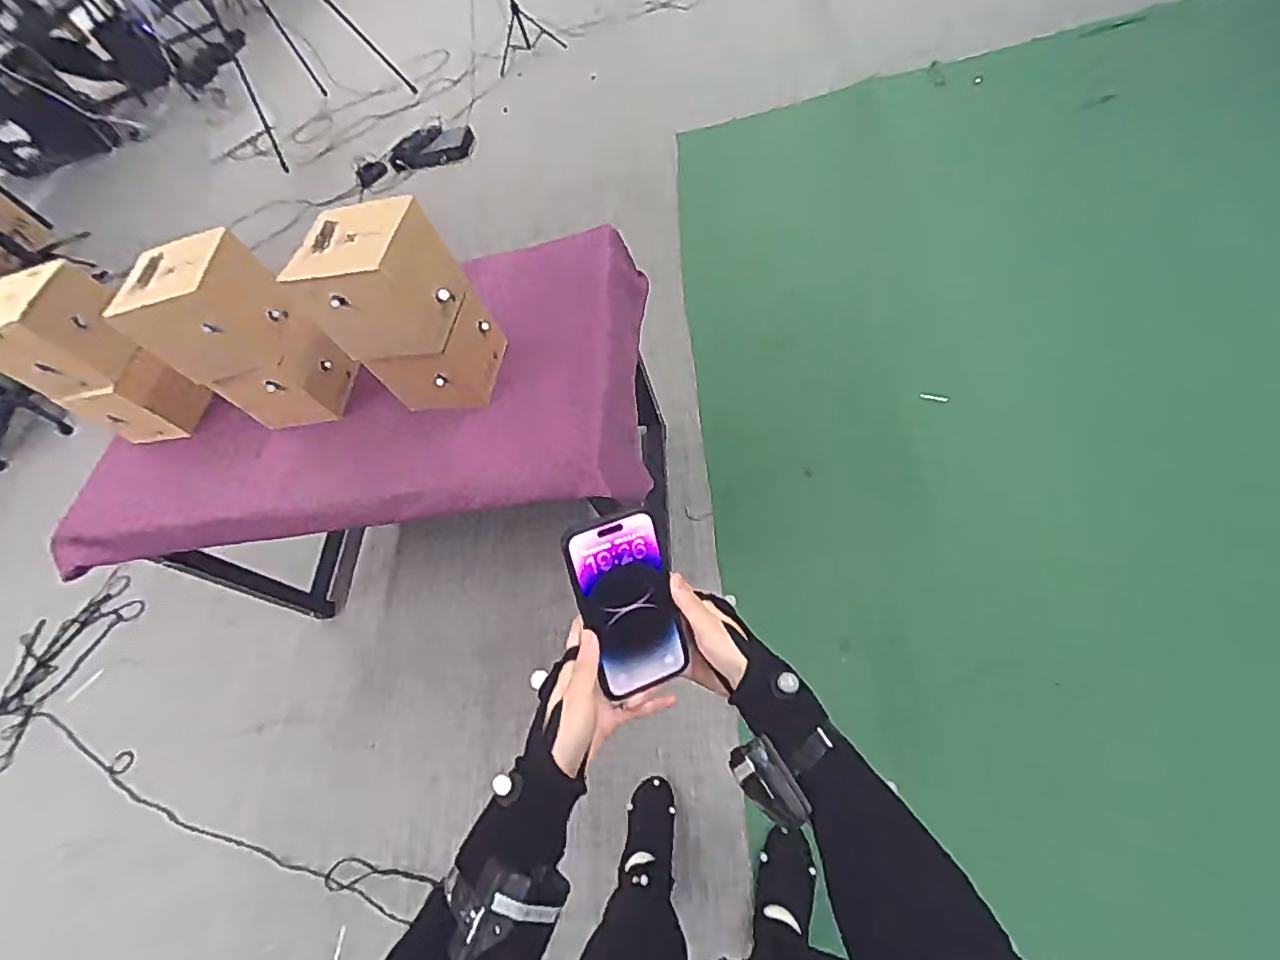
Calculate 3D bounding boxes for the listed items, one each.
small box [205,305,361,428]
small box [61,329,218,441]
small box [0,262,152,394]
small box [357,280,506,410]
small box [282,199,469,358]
[{"bbox_3d":[-0.707,-0.223,1.094,0.179,0.176,0.168,-6,59,13],"label":"small box"},{"bbox_3d":[-1.084,-0.199,1.193,0.168,0.176,0.179,-6,59,13],"label":"small box"},{"bbox_3d":[-1.125,-0.286,1.059,0.168,0.176,0.179,-10,59,10],"label":"small box"},{"bbox_3d":[-0.377,-0.245,1.012,0.179,0.176,0.168,-1,60,16],"label":"small box"},{"bbox_3d":[-0.409,-0.313,0.866,0.179,0.176,0.168,-1,60,15],"label":"small box"}]
